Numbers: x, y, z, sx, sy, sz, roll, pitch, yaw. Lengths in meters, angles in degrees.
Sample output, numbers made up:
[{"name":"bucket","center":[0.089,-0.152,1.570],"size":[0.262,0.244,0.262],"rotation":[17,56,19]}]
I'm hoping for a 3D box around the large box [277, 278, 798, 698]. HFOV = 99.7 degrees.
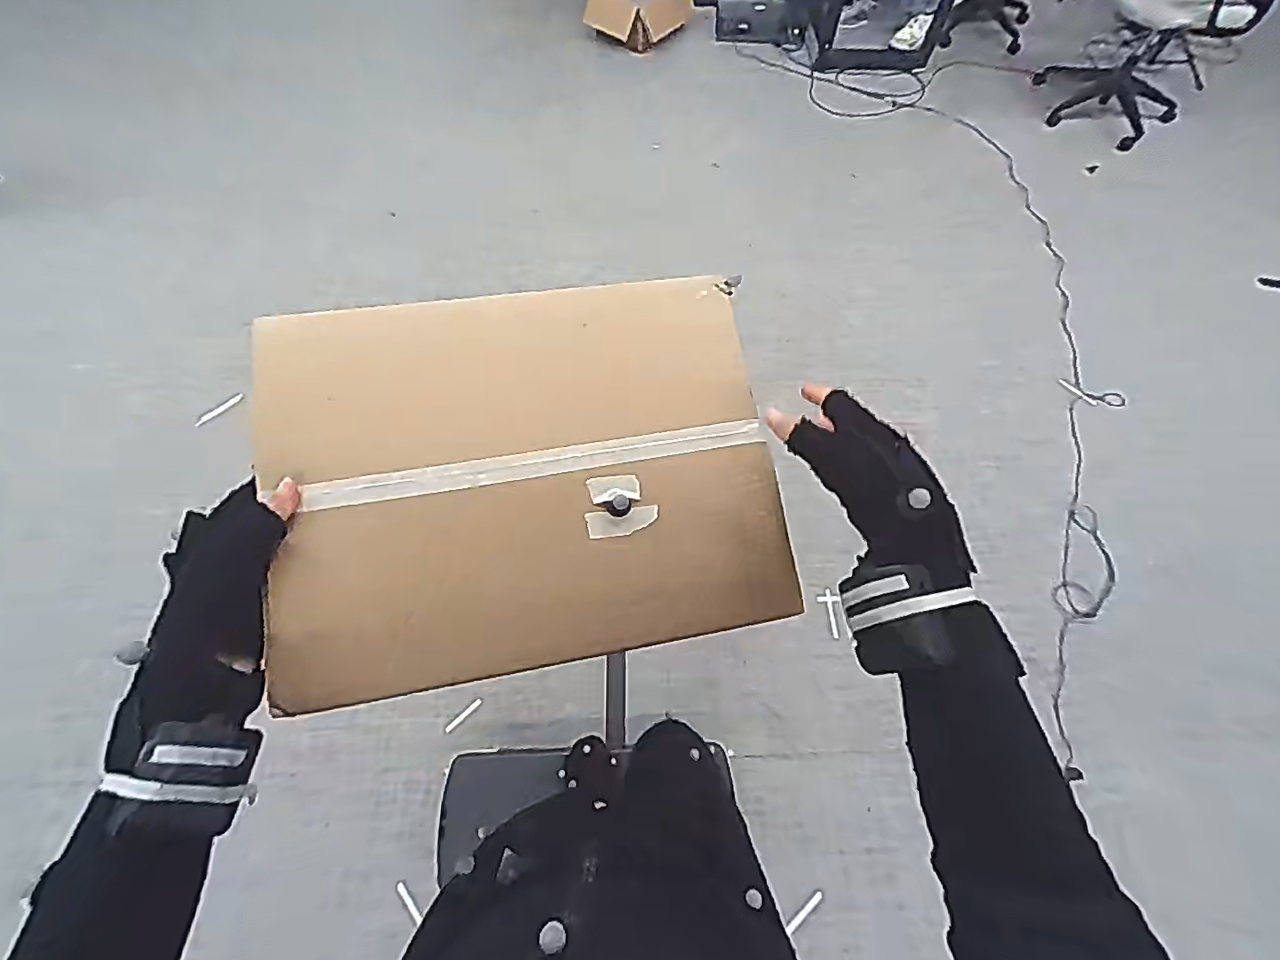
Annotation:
[{"name":"large box","center":[-0.105,0.018,0.597],"size":[0.408,0.320,0.320],"rotation":[-8,79,-9]}]
